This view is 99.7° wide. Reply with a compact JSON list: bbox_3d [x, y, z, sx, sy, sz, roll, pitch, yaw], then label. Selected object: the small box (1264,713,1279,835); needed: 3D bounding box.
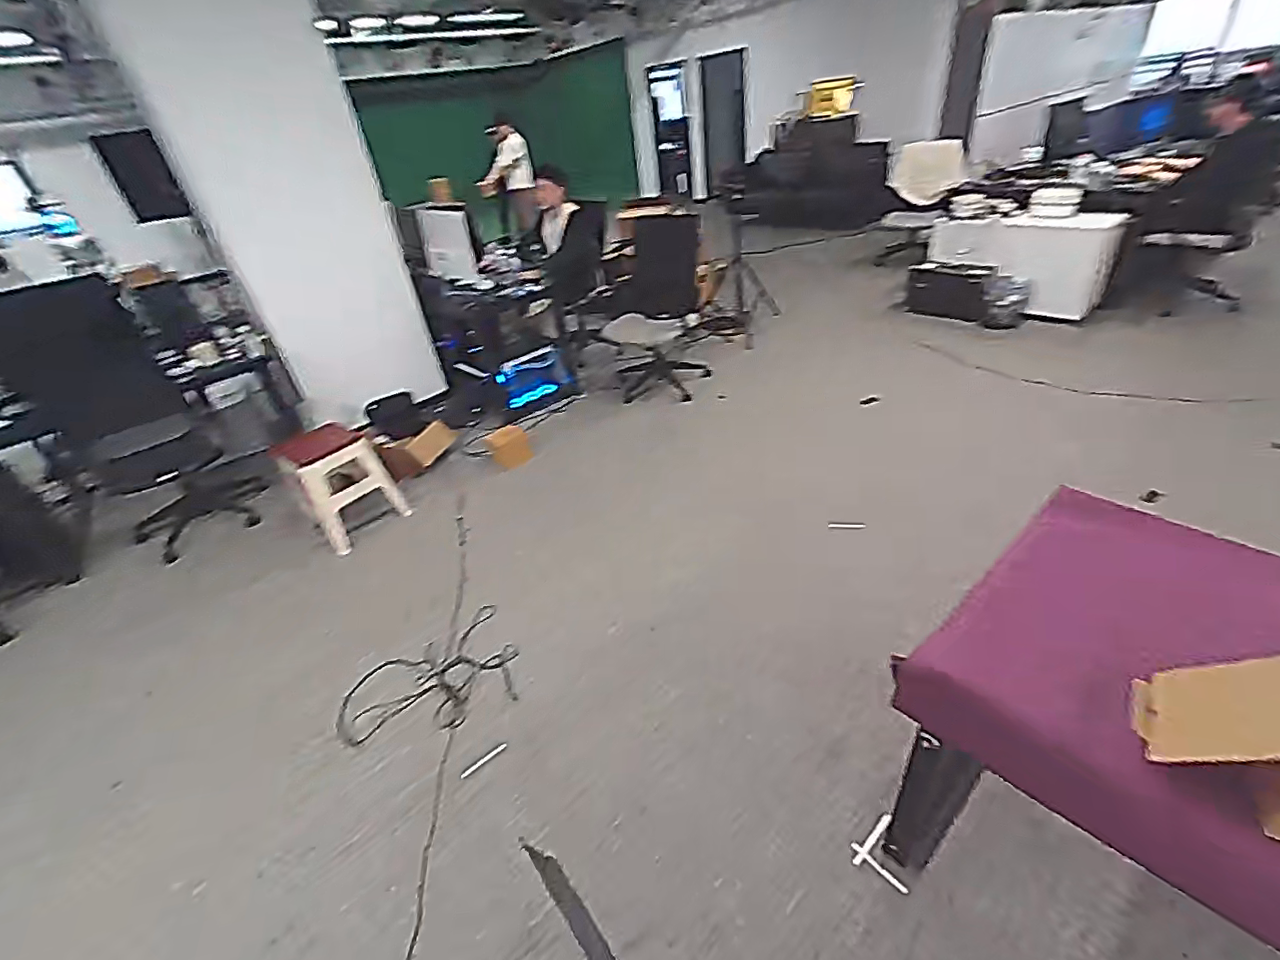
[{"bbox_3d":[0.851,0.340,0.601,0.179,0.176,0.168,19,42,36],"label":"small box"}]
